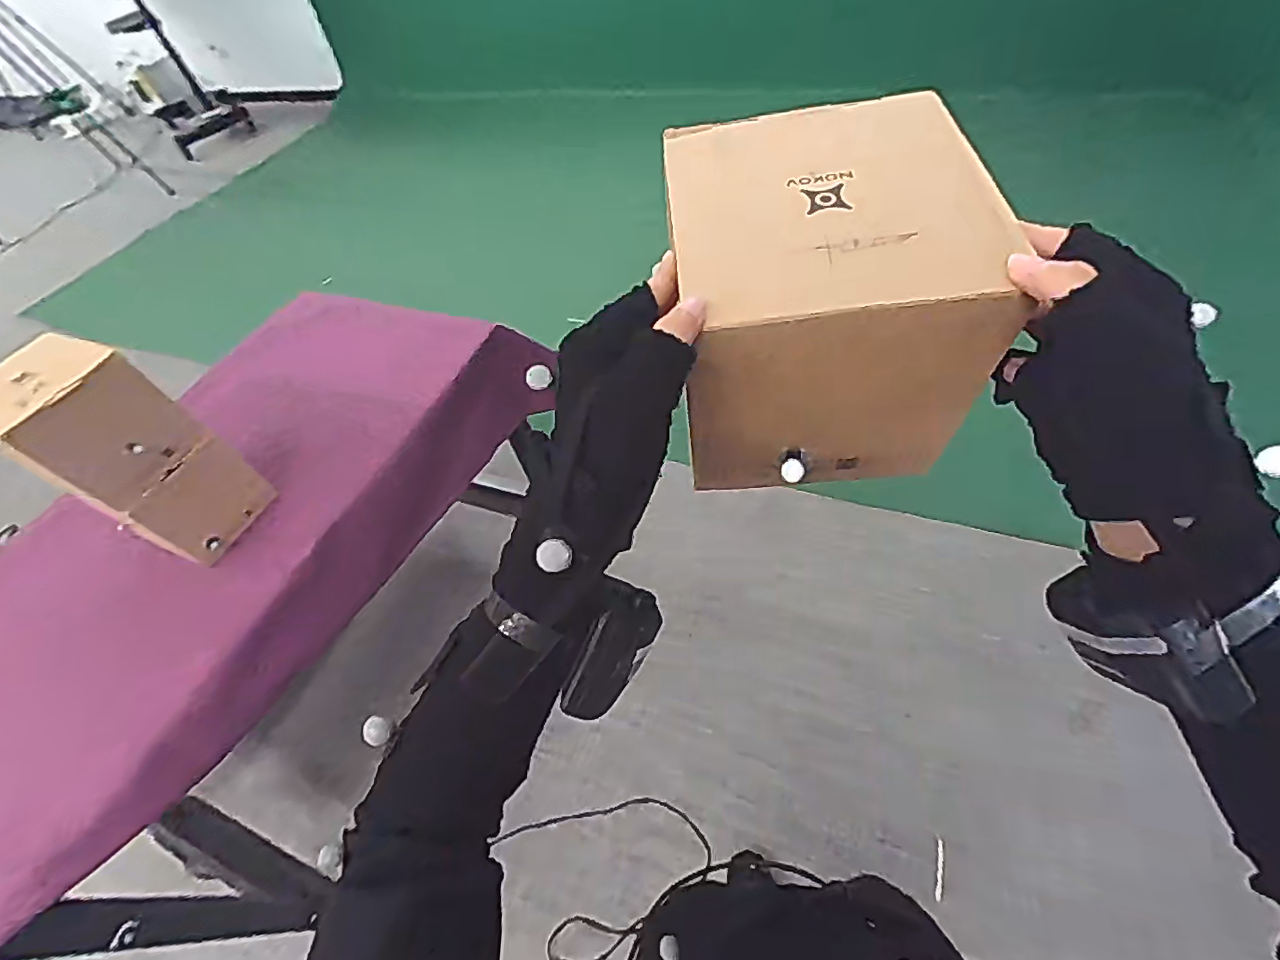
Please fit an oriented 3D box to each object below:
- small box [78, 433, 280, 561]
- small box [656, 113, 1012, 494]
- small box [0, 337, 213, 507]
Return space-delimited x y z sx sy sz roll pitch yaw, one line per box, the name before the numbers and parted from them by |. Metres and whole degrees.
small box | -0.774 0.018 0.925 0.179 0.176 0.168 15 57 20
small box | 0.101 -0.110 0.370 0.168 0.176 0.179 -5 59 5
small box | -0.803 -0.082 0.797 0.179 0.176 0.168 15 57 19
